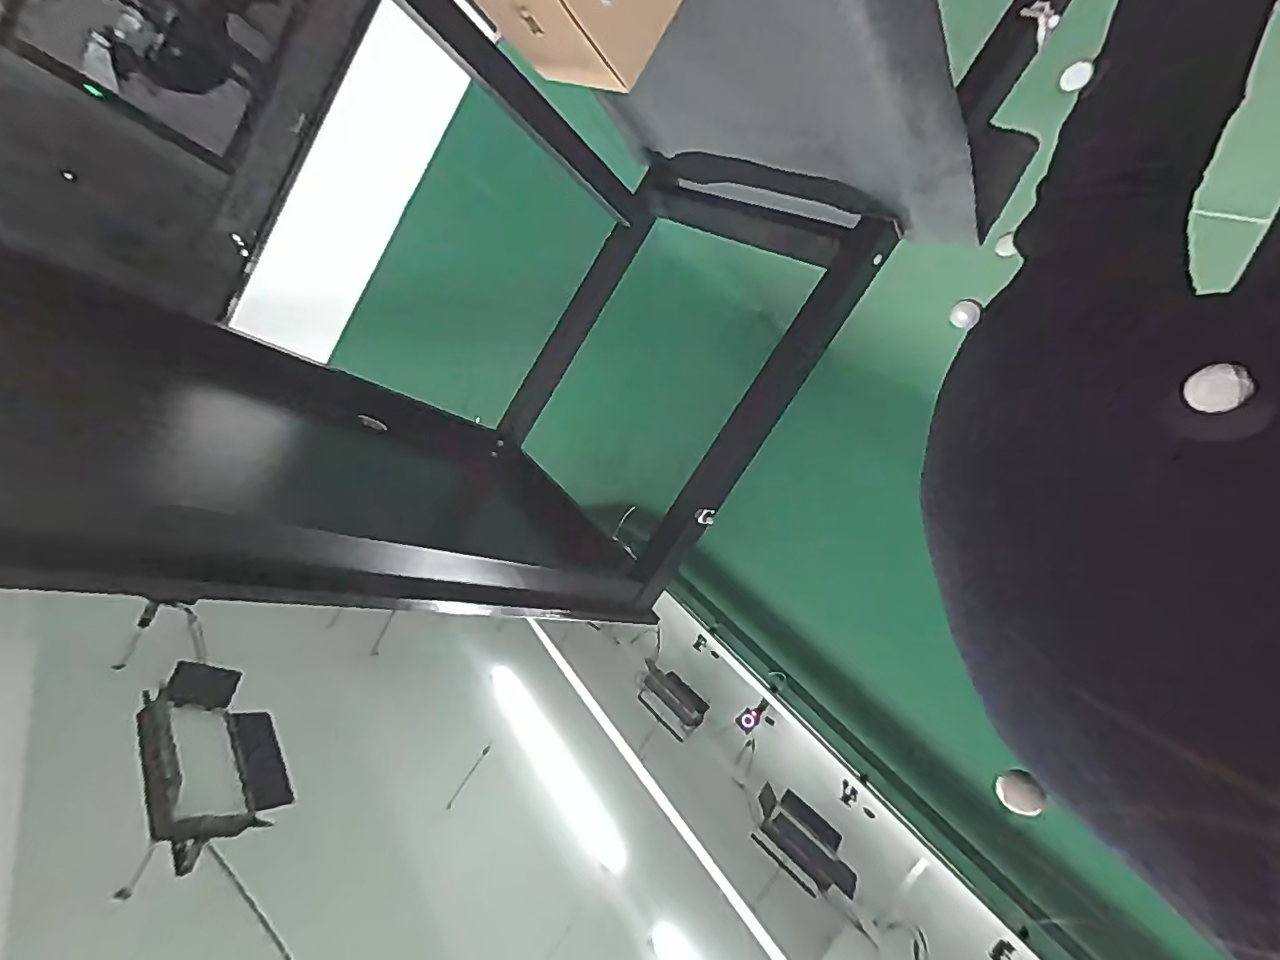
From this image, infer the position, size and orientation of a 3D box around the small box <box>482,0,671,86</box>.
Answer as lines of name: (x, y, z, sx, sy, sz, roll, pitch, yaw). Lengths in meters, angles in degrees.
small box: (-0.064, -0.529, 0.516, 0.168, 0.176, 0.179, 38, -170, 35)
